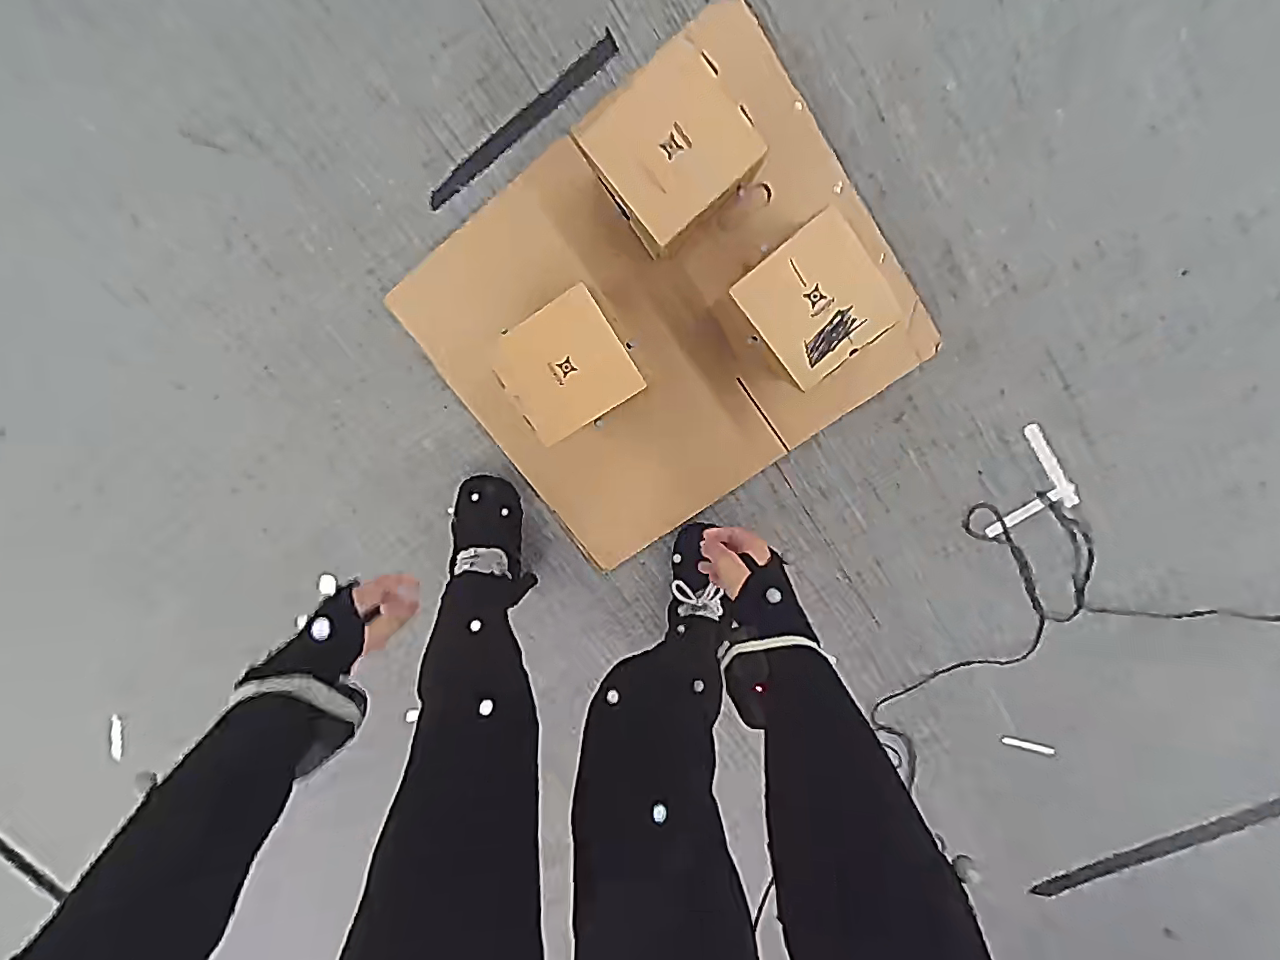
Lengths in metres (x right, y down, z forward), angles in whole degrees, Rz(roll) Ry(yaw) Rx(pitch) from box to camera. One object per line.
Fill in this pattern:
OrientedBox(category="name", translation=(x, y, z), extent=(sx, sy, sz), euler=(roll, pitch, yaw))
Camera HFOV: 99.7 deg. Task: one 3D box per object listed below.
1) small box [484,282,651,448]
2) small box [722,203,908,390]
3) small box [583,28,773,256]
OrientedBox(category="small box", translation=(-0.097, -0.177, 0.812), extent=(0.179, 0.176, 0.168), euler=(-31, 103, 13))
OrientedBox(category="small box", translation=(0.236, -0.256, 0.772), extent=(0.168, 0.176, 0.179), euler=(-38, 101, 13))
OrientedBox(category="small box", translation=(0.049, -0.432, 0.730), extent=(0.179, 0.176, 0.168), euler=(-40, 99, 14))
